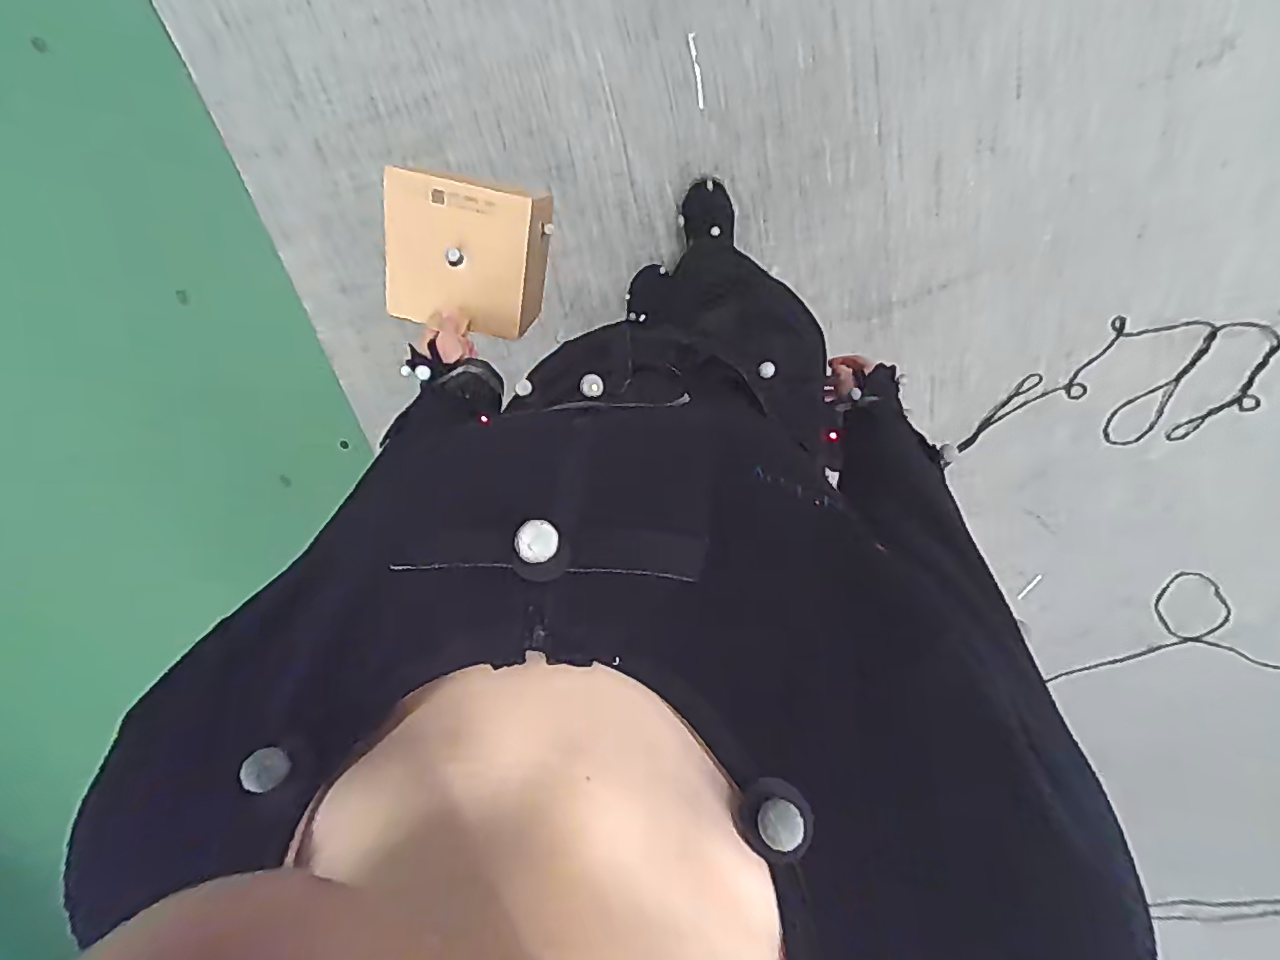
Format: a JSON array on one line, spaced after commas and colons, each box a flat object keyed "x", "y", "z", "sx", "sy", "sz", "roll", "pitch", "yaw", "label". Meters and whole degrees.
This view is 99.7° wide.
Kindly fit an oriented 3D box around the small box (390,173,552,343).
[{"x": -0.214, "y": -0.297, "z": 0.712, "sx": 0.168, "sy": 0.179, "sz": 0.176, "roll": 9, "pitch": 120, "yaw": -5, "label": "small box"}]
